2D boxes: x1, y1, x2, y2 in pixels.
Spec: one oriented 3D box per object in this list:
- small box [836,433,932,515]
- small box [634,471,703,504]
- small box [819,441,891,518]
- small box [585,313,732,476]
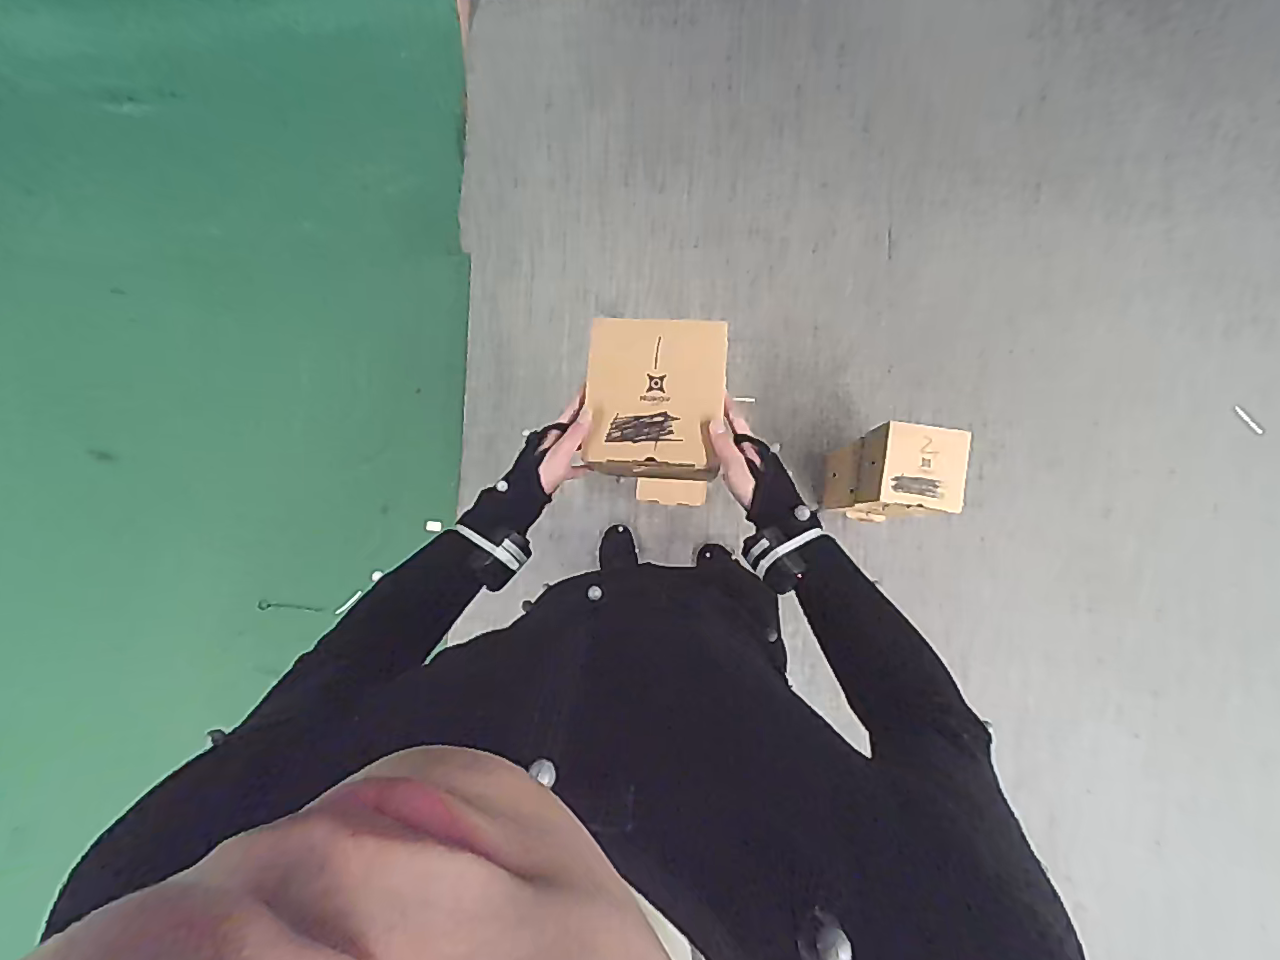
[{"bbox_3d":[0.606,-0.010,1.362,0.168,0.176,0.179,8,88,6],"label":"small box"},{"bbox_3d":[0.085,-0.034,1.416,0.168,0.176,0.179,7,88,6],"label":"small box"},{"bbox_3d":[0.615,0.003,1.521,0.168,0.176,0.179,13,89,9],"label":"small box"},{"bbox_3d":[0.029,-0.101,0.709,0.168,0.176,0.179,3,84,5],"label":"small box"}]
